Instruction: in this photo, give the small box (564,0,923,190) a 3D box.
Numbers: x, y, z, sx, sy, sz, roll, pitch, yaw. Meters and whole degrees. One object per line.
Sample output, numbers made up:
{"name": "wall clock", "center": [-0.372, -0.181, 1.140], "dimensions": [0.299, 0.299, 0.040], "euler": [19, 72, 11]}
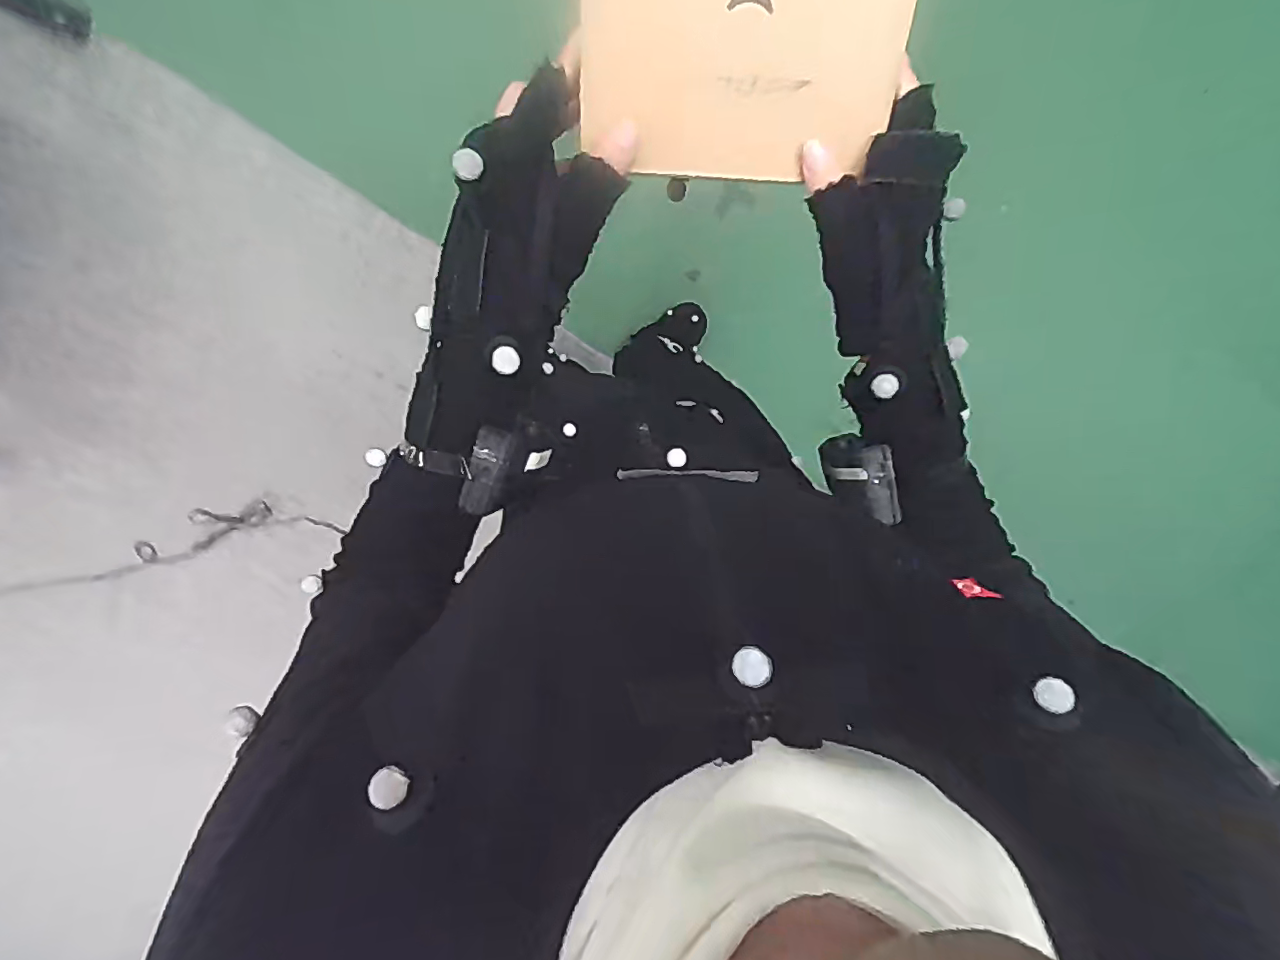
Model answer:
{"name": "small box", "center": [0.044, -0.271, 0.305], "dimensions": [0.168, 0.176, 0.179], "euler": [2, 121, -4]}
